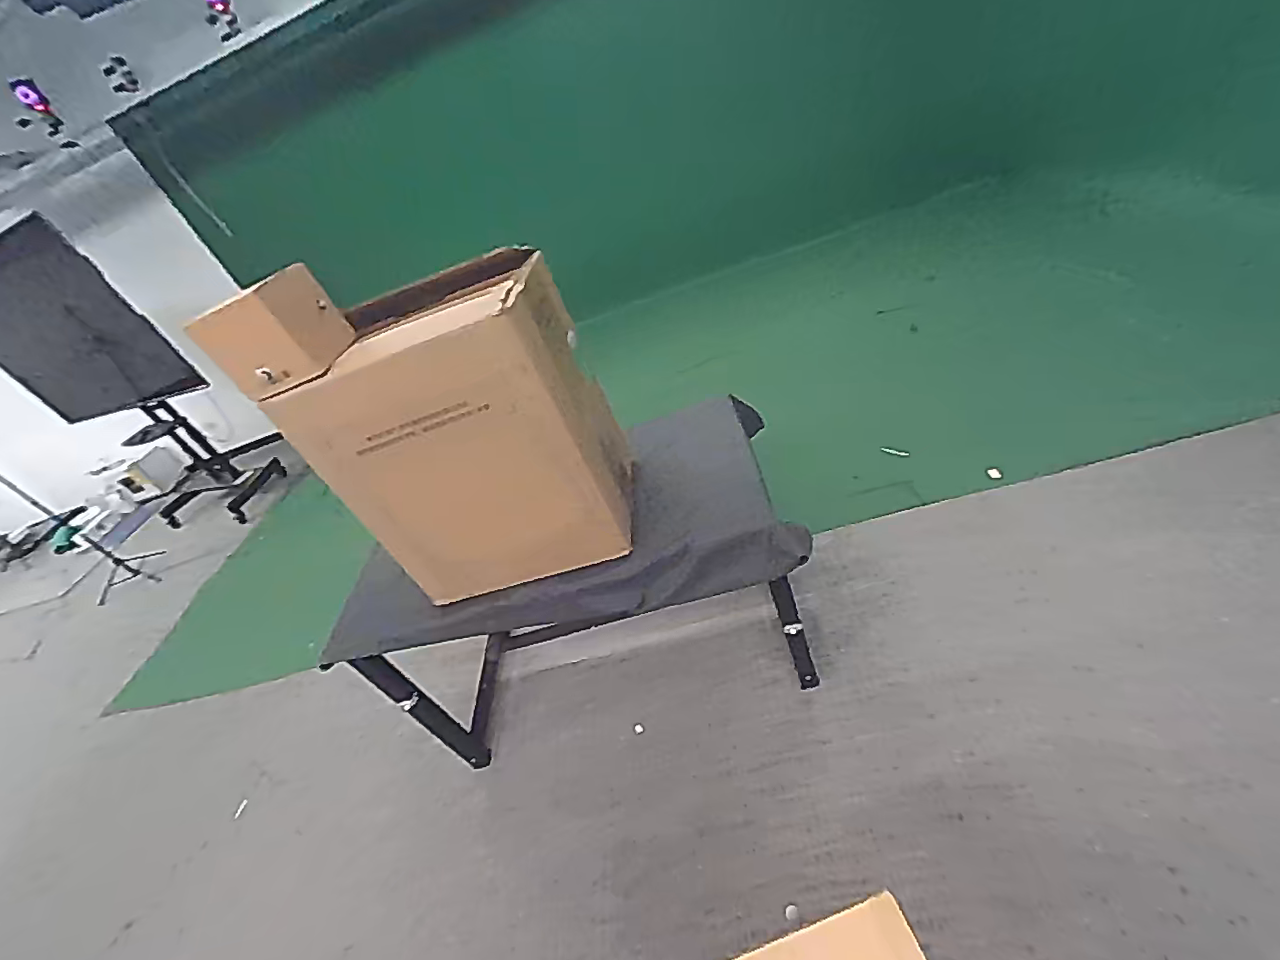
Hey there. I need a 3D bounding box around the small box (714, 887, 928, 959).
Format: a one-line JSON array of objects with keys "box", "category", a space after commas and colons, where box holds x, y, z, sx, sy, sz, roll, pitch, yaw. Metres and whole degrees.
[{"box": [0.163, 0.456, 0.424, 0.168, 0.176, 0.179, -21, 48, -4], "category": "small box"}]

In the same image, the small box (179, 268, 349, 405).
[{"box": [-0.694, -0.270, 1.027, 0.168, 0.176, 0.179, -20, 36, 11], "category": "small box"}]
